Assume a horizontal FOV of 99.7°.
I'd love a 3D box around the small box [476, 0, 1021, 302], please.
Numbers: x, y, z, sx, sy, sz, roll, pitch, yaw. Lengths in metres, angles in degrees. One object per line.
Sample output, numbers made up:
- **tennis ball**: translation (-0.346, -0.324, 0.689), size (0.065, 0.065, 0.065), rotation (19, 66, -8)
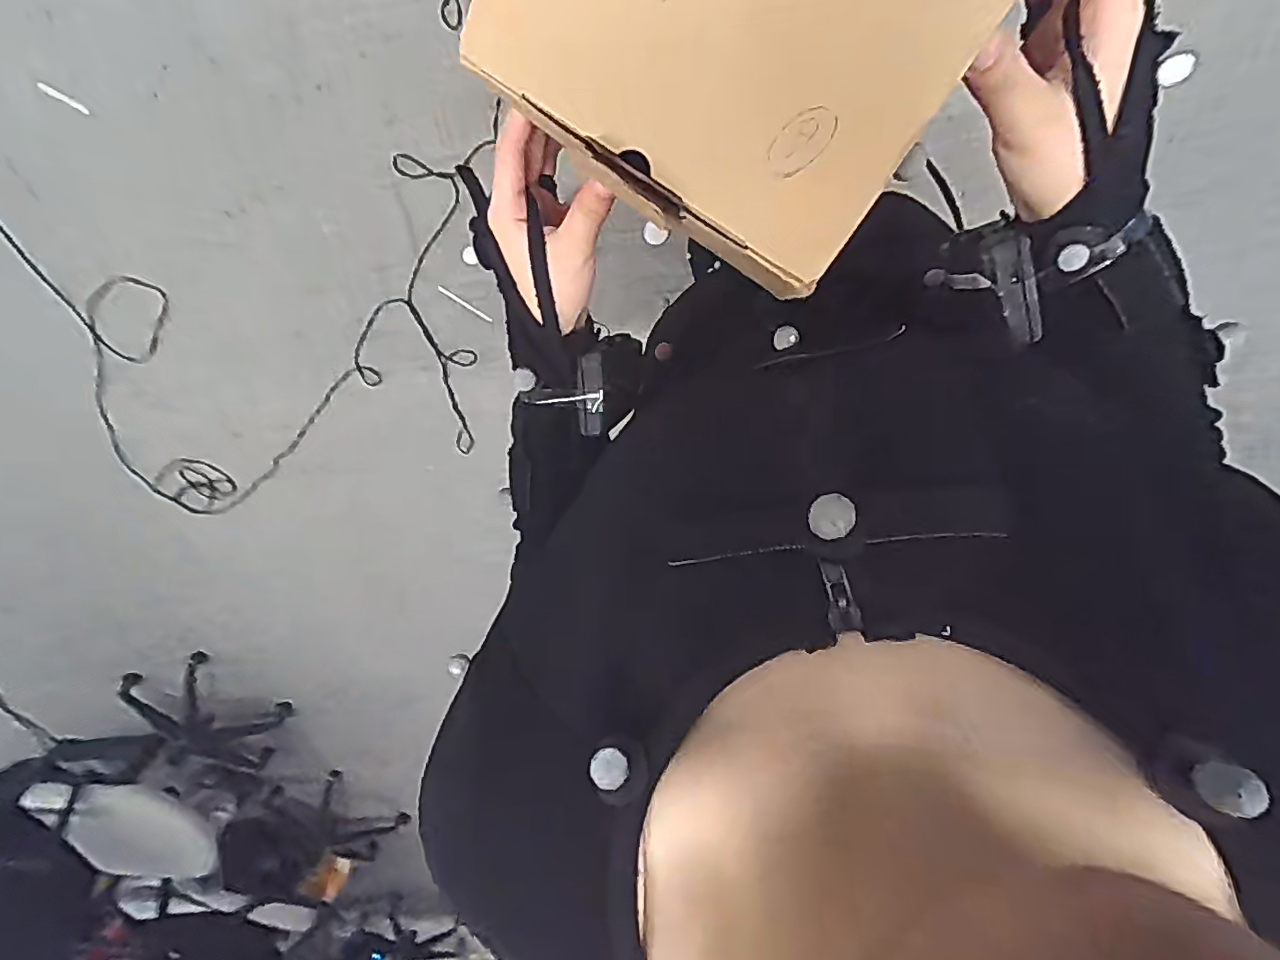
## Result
- **small box**: translation (0.061, -0.206, 0.259), size (0.168, 0.176, 0.179), rotation (34, 112, 0)
